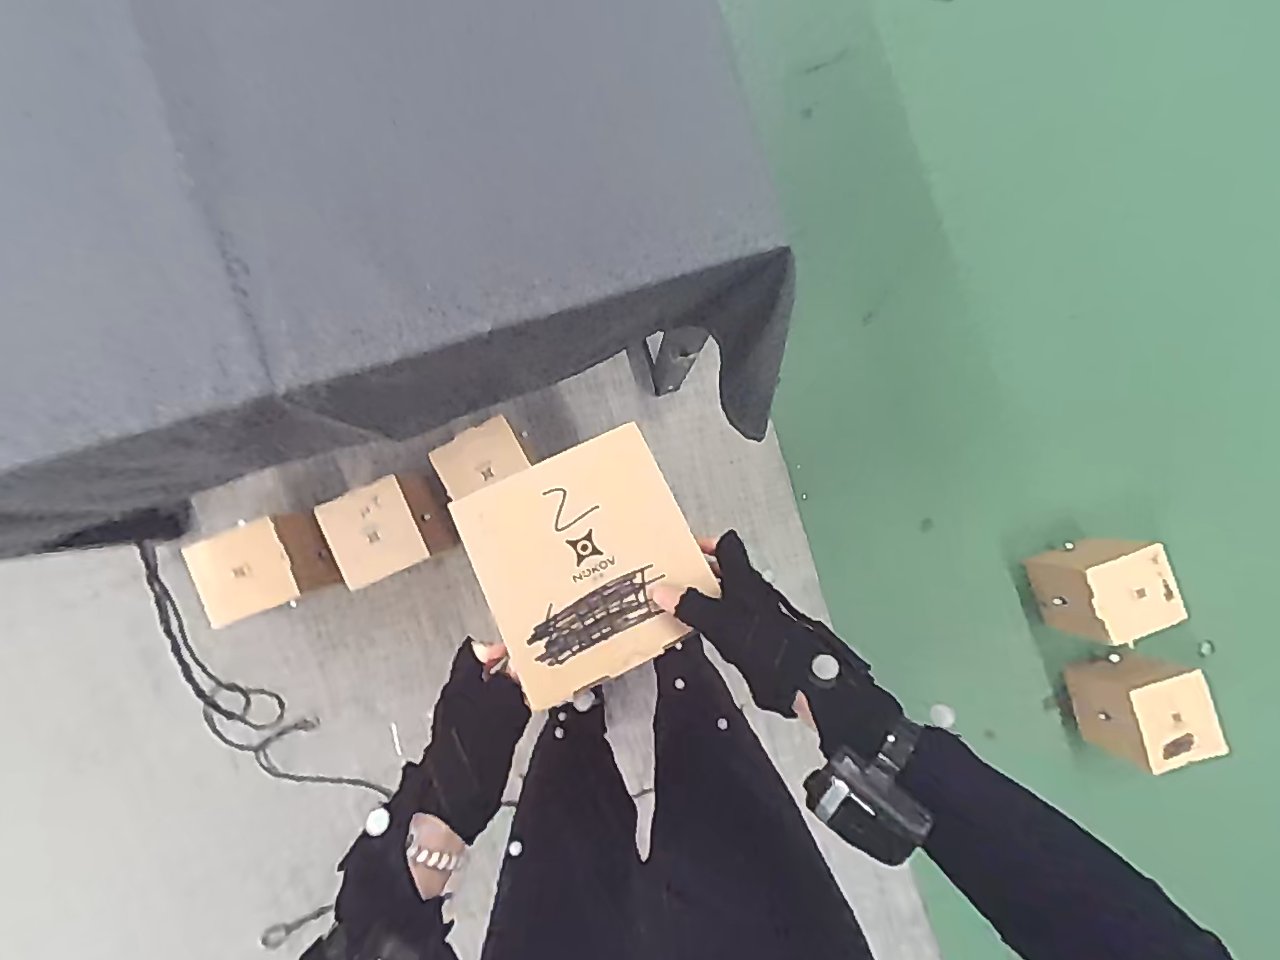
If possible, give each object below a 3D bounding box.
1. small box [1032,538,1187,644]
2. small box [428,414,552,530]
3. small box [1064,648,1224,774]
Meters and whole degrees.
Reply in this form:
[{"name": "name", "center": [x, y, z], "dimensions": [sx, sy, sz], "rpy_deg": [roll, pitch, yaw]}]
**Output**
[{"name": "small box", "center": [0.991, 0.230, 1.164], "dimensions": [0.179, 0.176, 0.168], "rpy_deg": [-18, 89, -2]}, {"name": "small box", "center": [-0.298, -0.011, 1.111], "dimensions": [0.168, 0.176, 0.179], "rpy_deg": [-29, 89, -3]}, {"name": "small box", "center": [1.068, 0.486, 1.161], "dimensions": [0.168, 0.176, 0.179], "rpy_deg": [-15, 89, -3]}]
